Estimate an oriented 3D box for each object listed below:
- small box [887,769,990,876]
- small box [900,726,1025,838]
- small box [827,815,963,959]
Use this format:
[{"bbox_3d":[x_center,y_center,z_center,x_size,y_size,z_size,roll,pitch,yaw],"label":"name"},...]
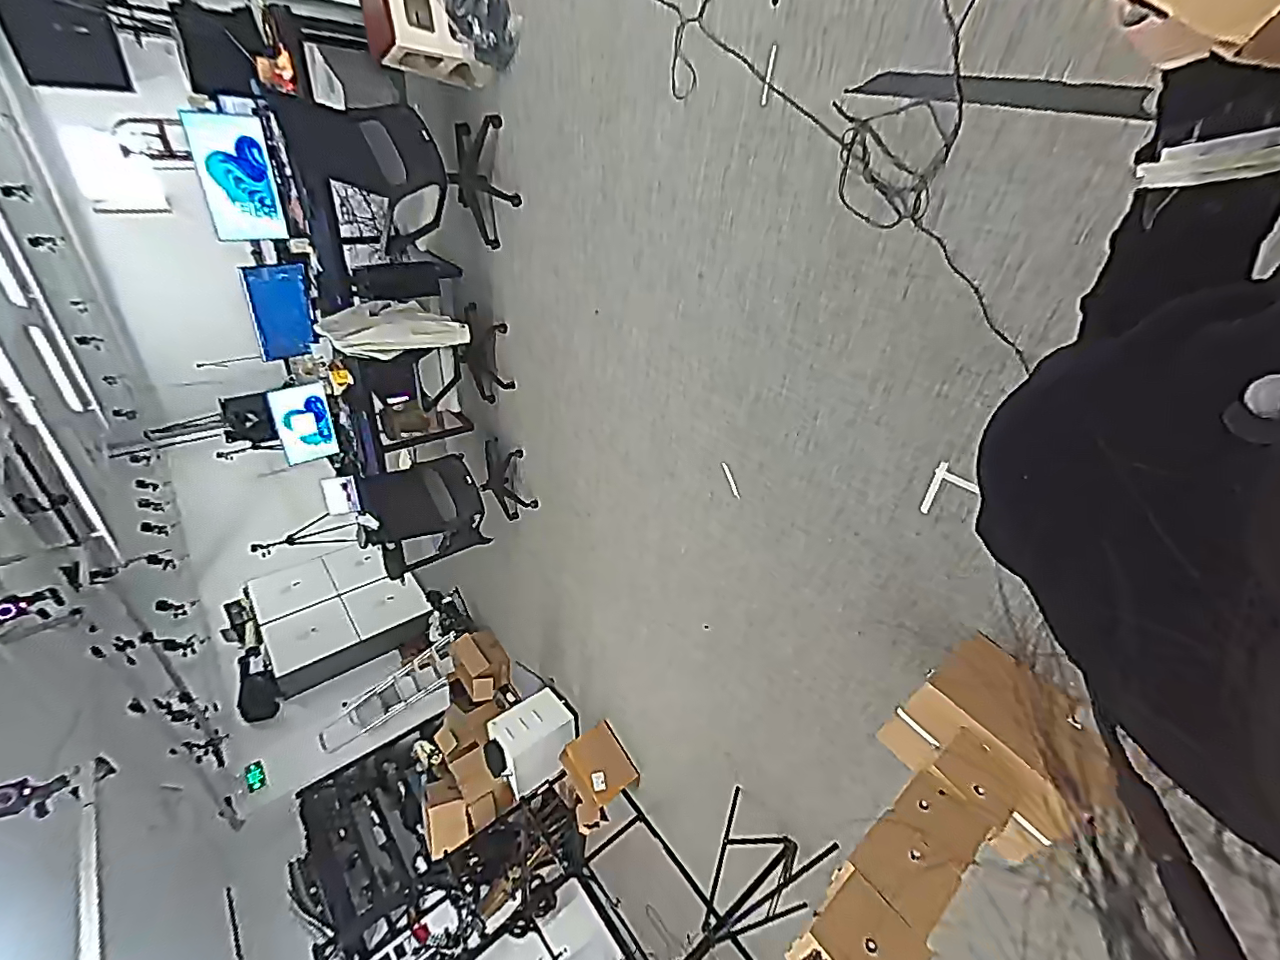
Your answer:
[{"bbox_3d":[0.670,0.814,1.242,0.168,0.176,0.179,32,132,42],"label":"small box"},{"bbox_3d":[0.793,0.750,1.328,0.179,0.176,0.168,45,139,31],"label":"small box"},{"bbox_3d":[0.540,0.857,1.152,0.179,0.176,0.168,38,135,38],"label":"small box"}]
